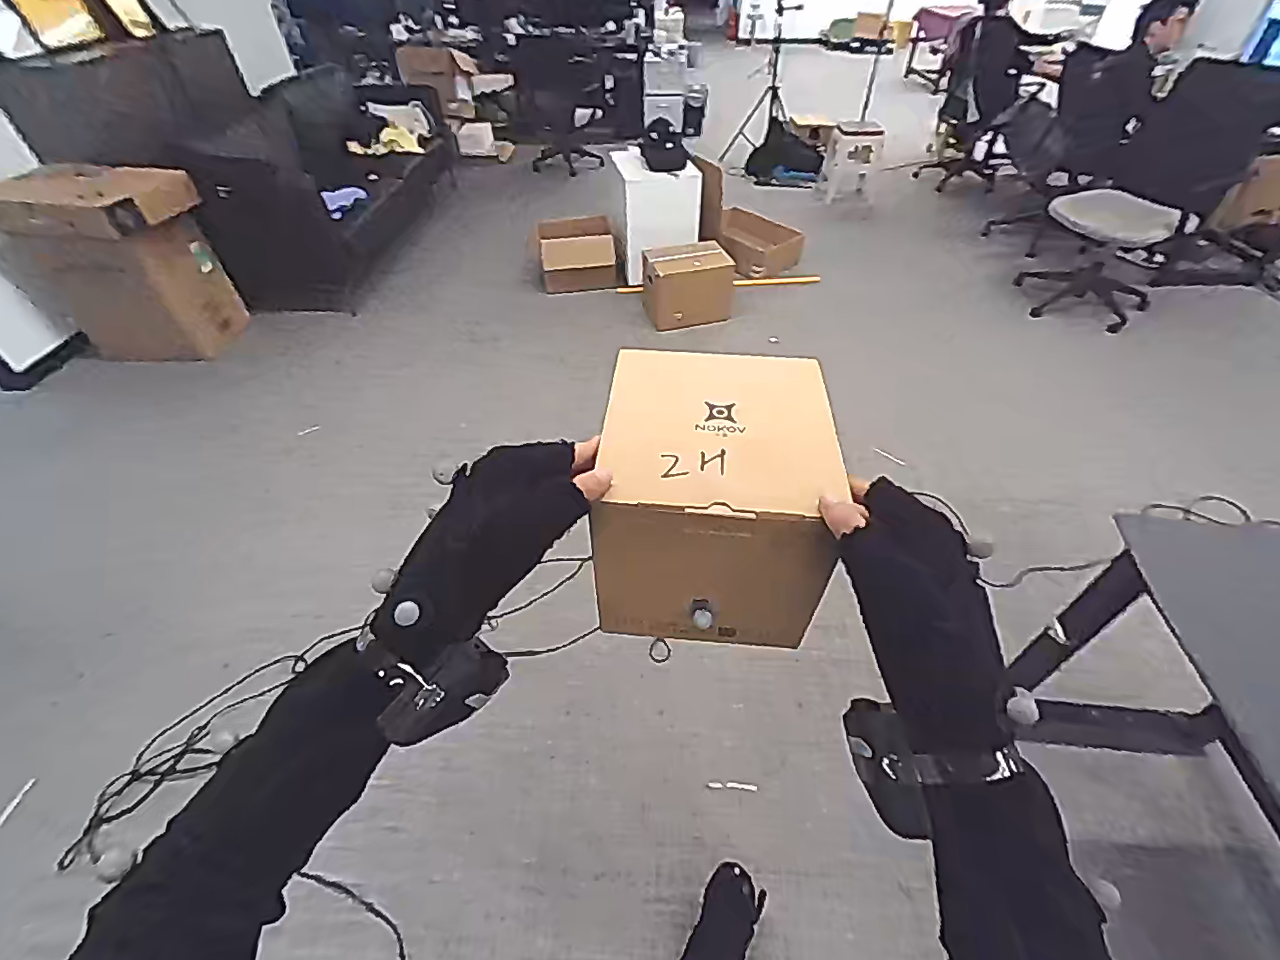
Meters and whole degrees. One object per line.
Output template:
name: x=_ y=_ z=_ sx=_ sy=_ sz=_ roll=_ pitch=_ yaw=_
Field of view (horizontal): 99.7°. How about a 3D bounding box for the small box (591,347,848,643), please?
small box: x=0.056 y=0.011 z=0.455 sx=0.168 sy=0.176 sz=0.179 roll=4 pitch=46 yaw=4
